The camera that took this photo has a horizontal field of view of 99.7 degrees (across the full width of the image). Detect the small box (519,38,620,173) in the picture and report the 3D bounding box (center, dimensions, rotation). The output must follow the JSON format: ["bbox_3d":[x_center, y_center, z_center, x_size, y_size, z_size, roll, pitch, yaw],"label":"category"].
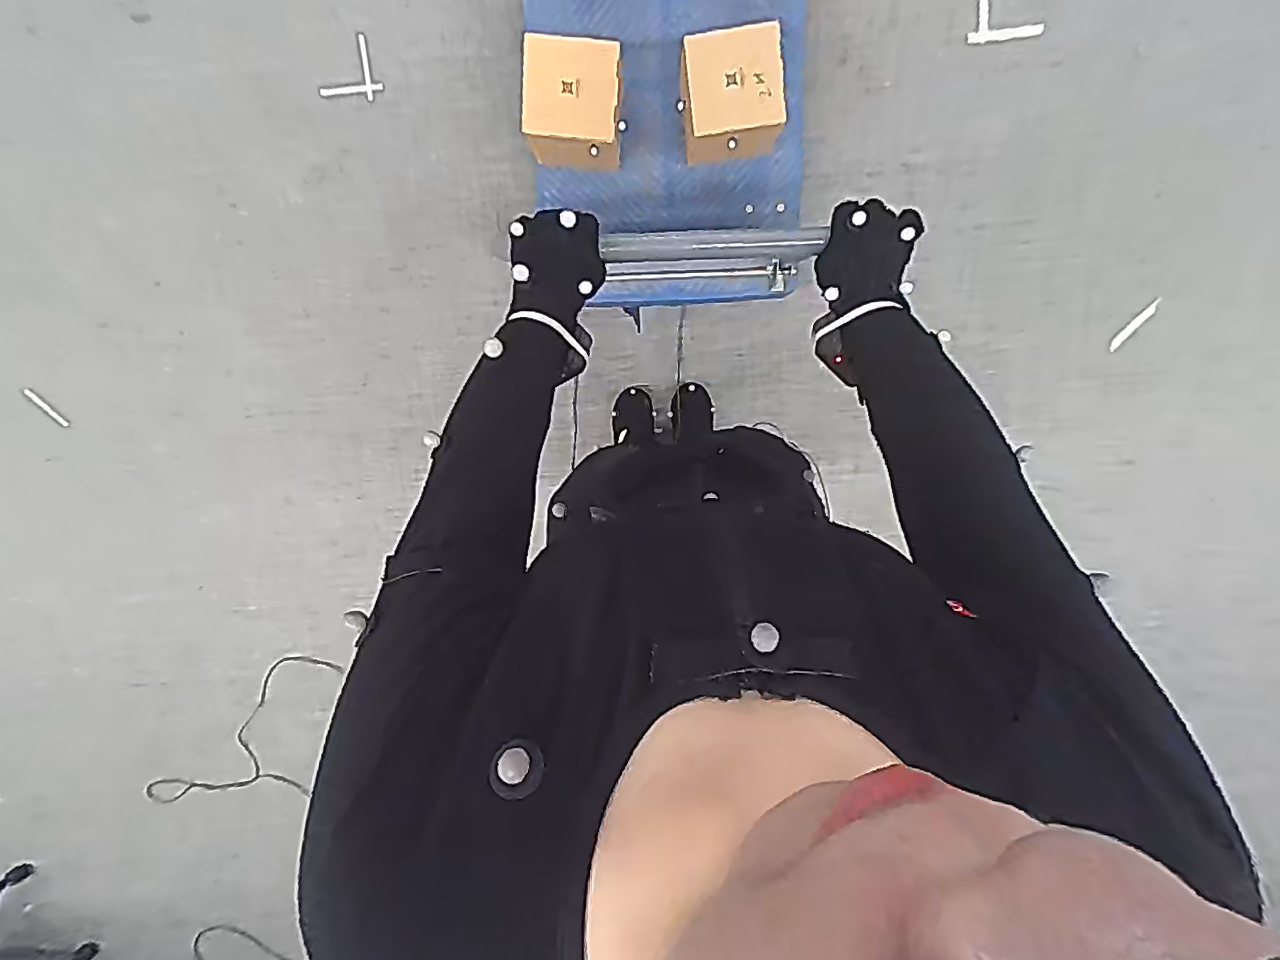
[{"bbox_3d":[-0.134,-0.729,1.070,0.179,0.176,0.168,3,102,-2],"label":"small box"}]

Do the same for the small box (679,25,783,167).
[{"bbox_3d":[0.170,-0.741,1.064,0.179,0.176,0.168,-8,103,2],"label":"small box"}]
